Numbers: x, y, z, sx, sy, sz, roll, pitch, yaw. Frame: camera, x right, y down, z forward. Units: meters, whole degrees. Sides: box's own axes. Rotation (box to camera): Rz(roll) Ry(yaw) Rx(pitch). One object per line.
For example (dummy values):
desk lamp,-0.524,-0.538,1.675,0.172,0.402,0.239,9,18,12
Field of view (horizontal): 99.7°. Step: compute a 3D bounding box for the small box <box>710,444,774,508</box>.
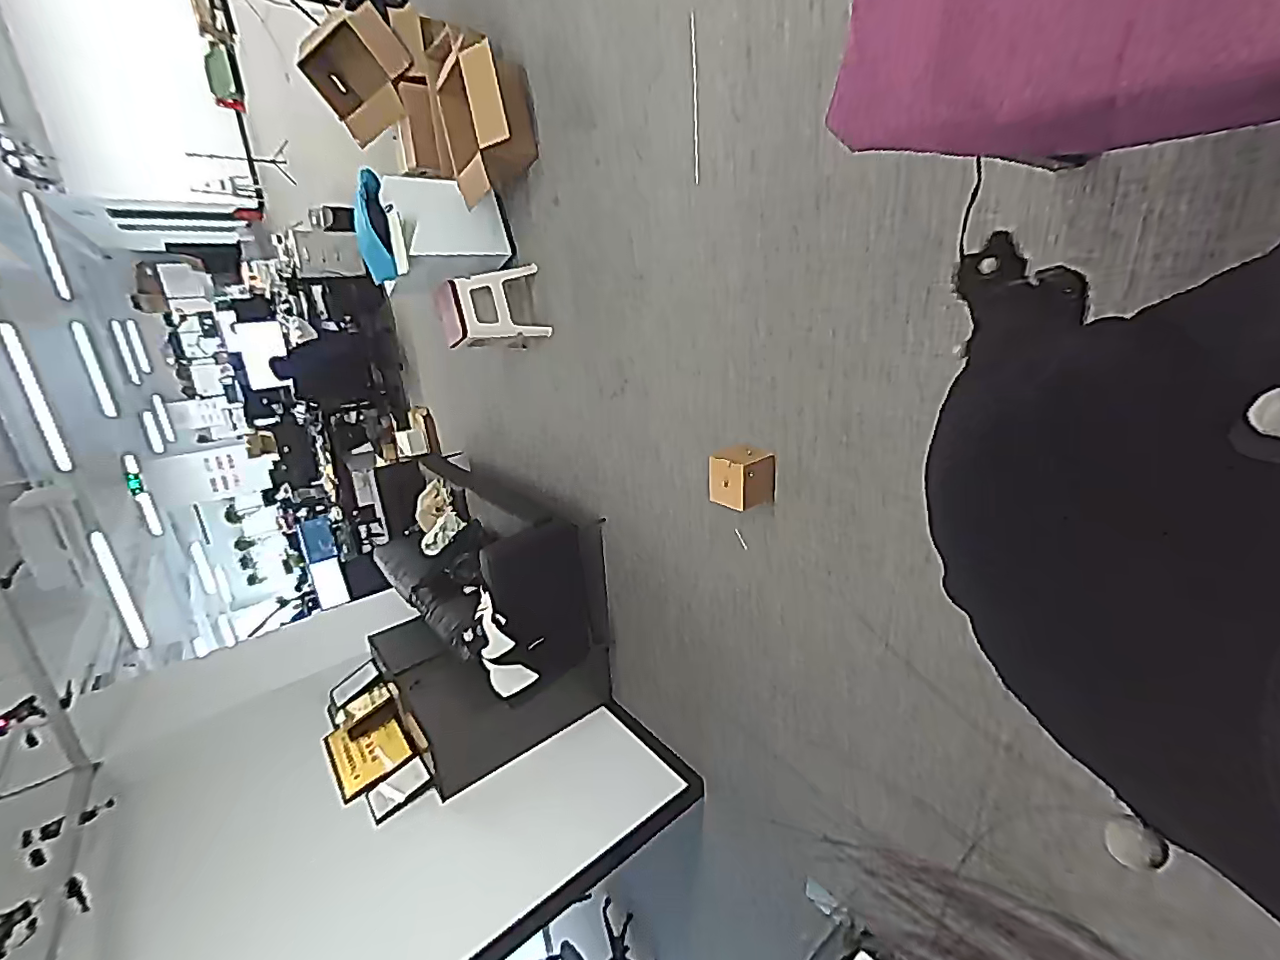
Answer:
small box,0.374,-0.020,1.972,0.168,0.176,0.179,20,120,48
